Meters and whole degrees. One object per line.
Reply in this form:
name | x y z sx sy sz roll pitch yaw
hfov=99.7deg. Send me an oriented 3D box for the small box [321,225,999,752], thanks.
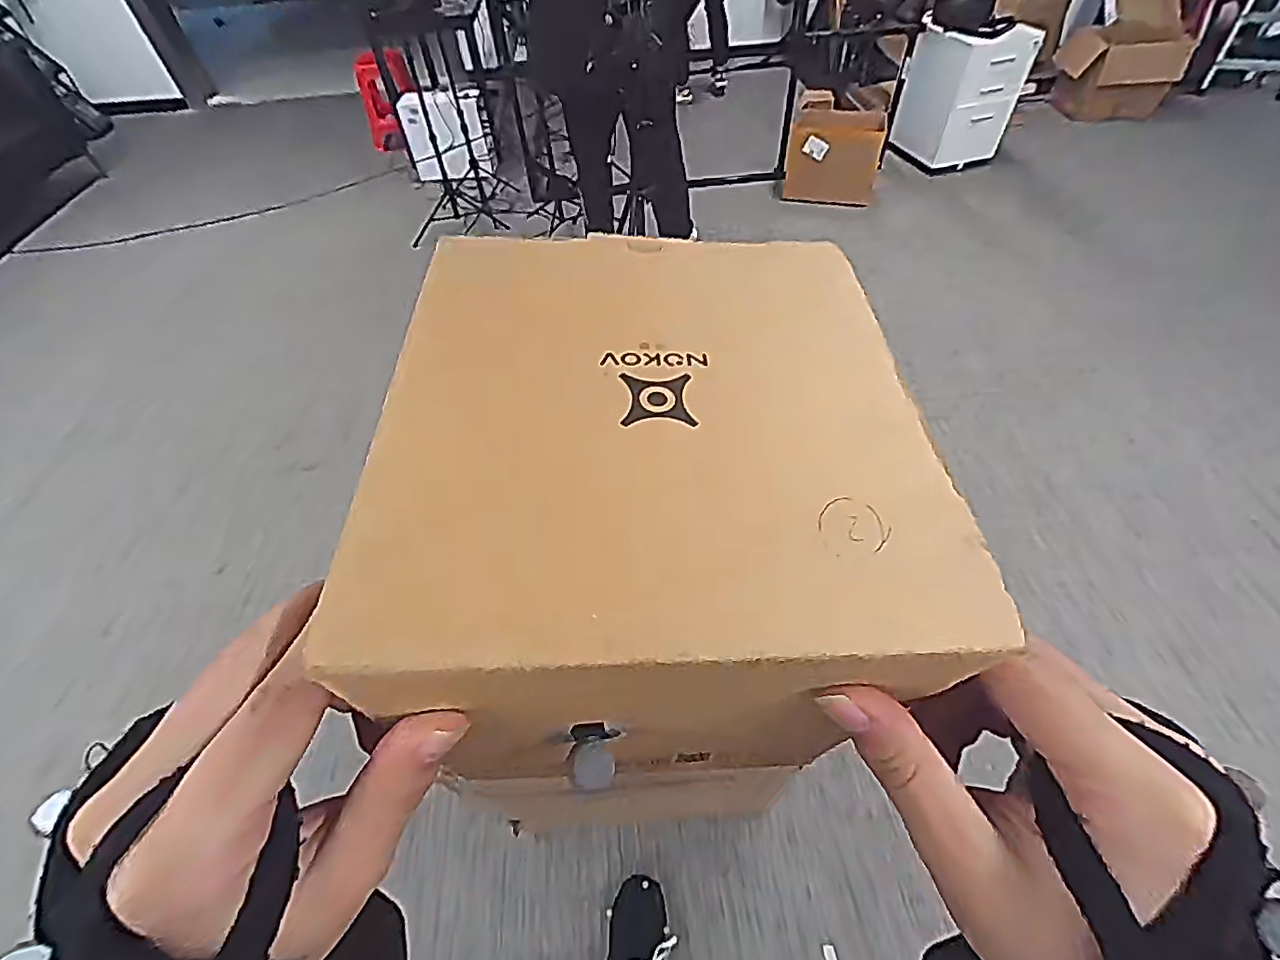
small box | 0.001 0.012 0.240 0.168 0.176 0.179 -1 53 -4
